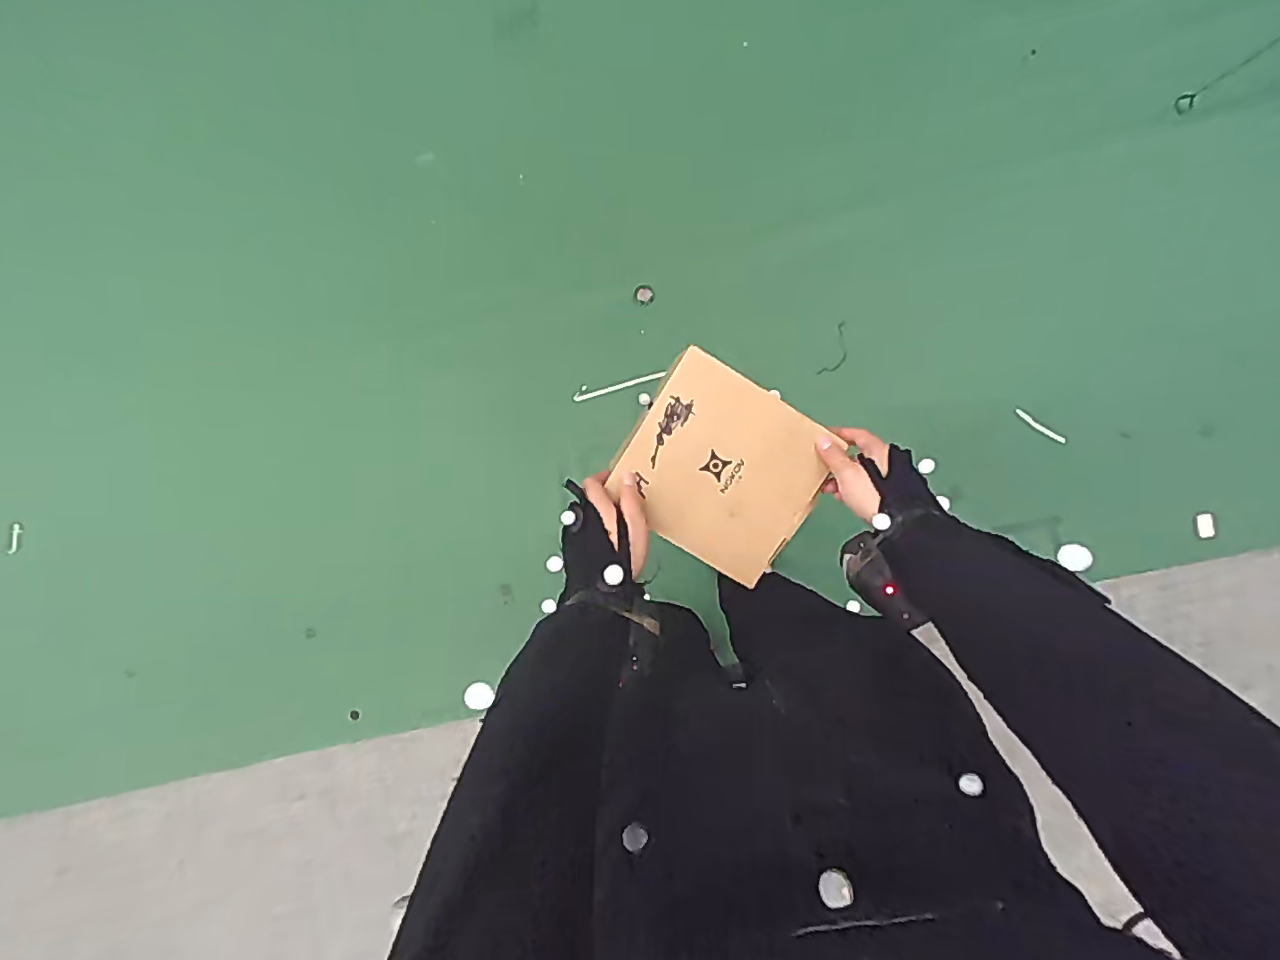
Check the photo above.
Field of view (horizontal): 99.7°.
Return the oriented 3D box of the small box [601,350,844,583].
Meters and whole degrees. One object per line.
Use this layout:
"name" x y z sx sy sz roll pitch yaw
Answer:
"small box" 0.077 -0.023 0.586 0.179 0.176 0.168 31 98 -5
